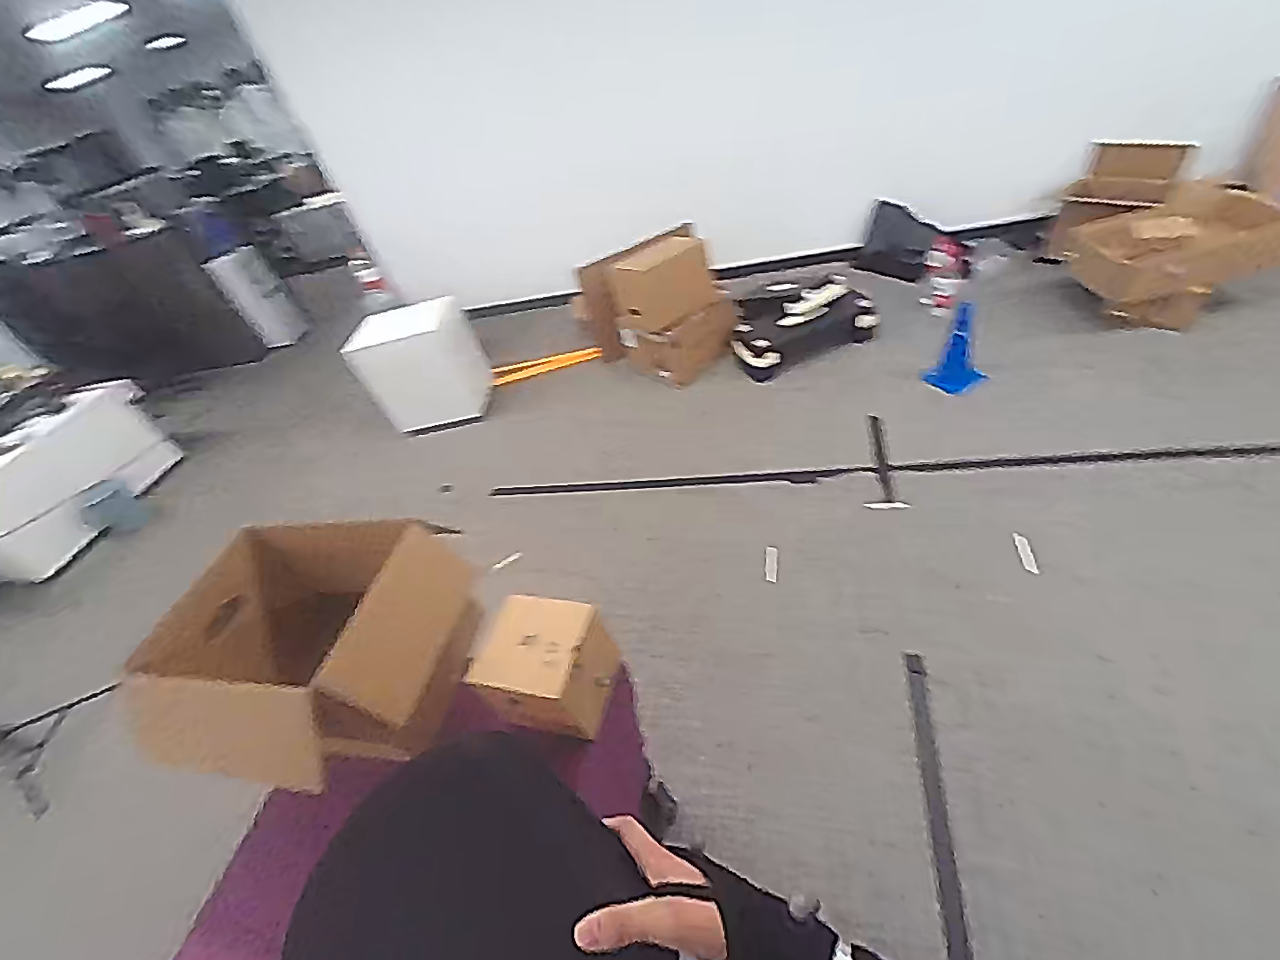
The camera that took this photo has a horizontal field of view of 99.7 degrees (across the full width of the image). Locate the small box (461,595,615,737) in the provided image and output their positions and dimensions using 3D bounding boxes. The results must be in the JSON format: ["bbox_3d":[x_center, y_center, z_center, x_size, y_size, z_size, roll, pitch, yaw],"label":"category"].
[{"bbox_3d":[-0.166,0.321,0.936,0.179,0.176,0.168,1,47,22],"label":"small box"}]
